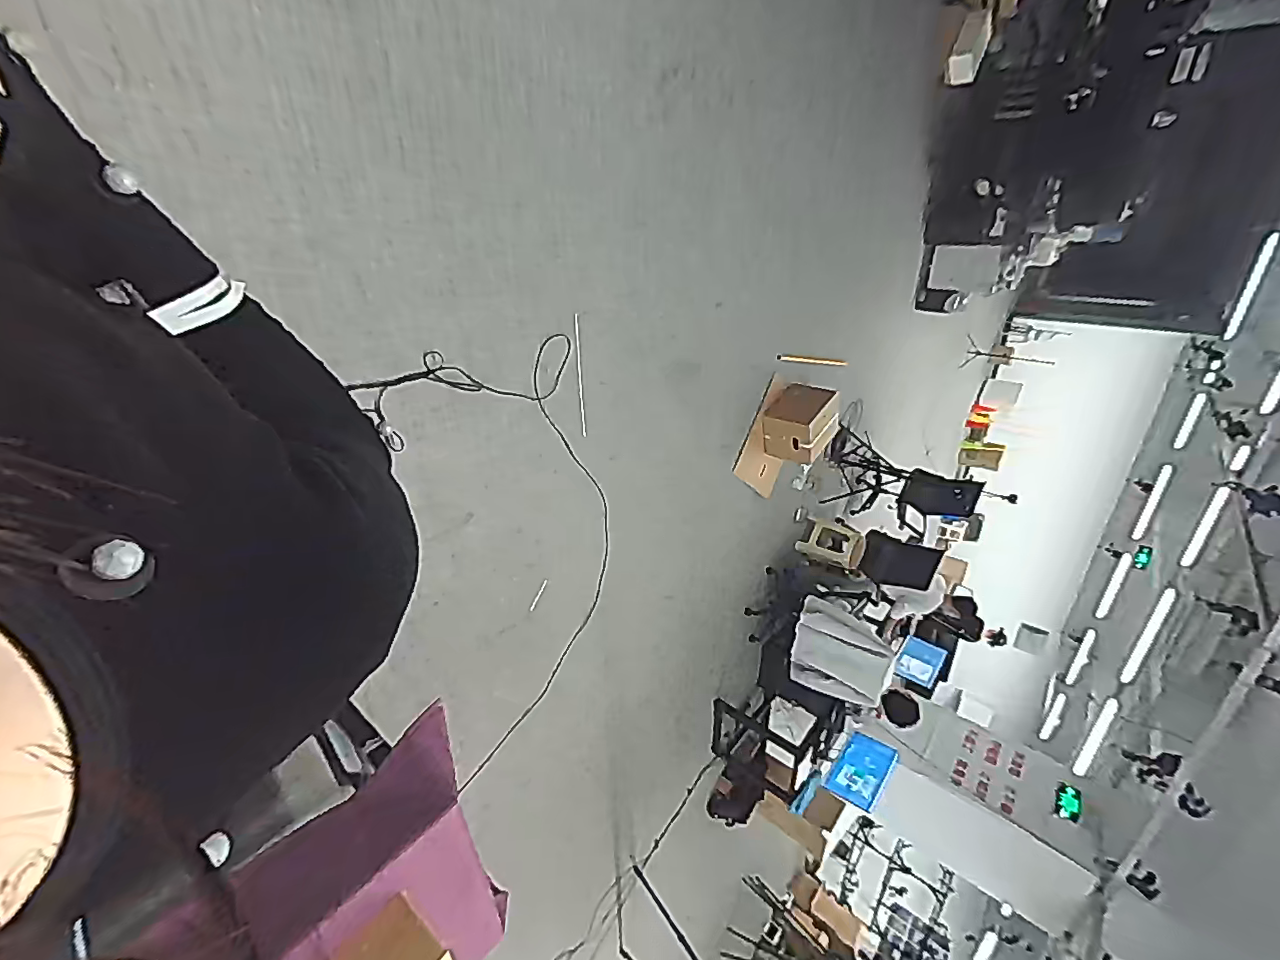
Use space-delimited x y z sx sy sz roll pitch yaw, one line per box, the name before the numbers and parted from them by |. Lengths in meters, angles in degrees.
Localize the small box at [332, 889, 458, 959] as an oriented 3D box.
small box | -0.471 0.962 1.053 0.179 0.176 0.168 -28 128 -40
